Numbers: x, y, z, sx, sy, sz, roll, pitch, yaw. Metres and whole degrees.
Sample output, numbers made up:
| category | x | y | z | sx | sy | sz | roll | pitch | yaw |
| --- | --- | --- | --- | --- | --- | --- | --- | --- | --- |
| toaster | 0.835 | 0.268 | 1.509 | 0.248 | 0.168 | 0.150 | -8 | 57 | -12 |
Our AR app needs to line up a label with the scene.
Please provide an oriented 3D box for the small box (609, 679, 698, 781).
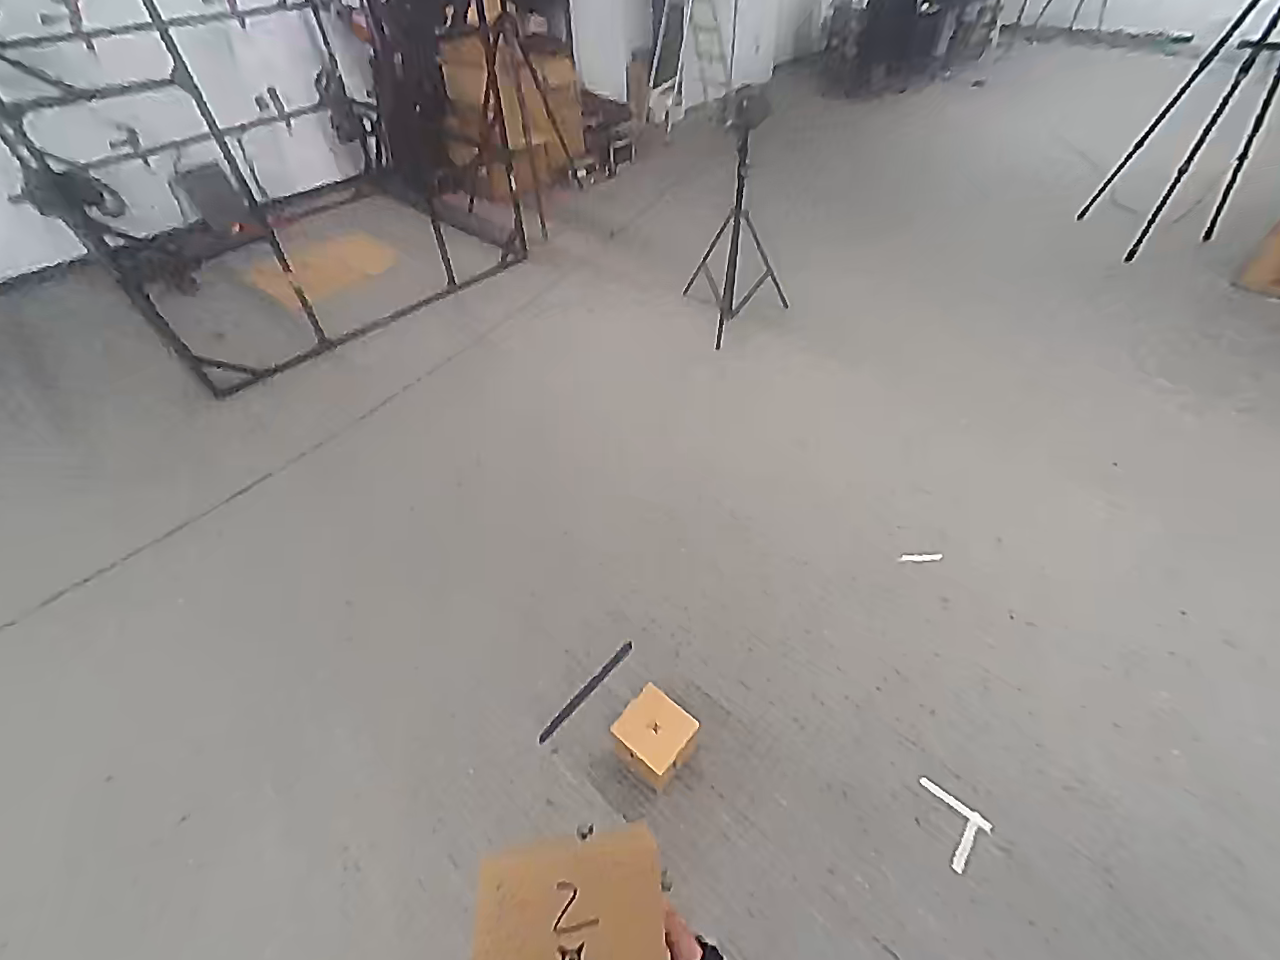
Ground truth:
| category | x | y | z | sx | sy | sz | roll | pitch | yaw |
| --- | --- | --- | --- | --- | --- | --- | --- | --- | --- |
| small box | 0.039 | 0.682 | 1.463 | 0.179 | 0.176 | 0.168 | 31 | 56 | 28 |
